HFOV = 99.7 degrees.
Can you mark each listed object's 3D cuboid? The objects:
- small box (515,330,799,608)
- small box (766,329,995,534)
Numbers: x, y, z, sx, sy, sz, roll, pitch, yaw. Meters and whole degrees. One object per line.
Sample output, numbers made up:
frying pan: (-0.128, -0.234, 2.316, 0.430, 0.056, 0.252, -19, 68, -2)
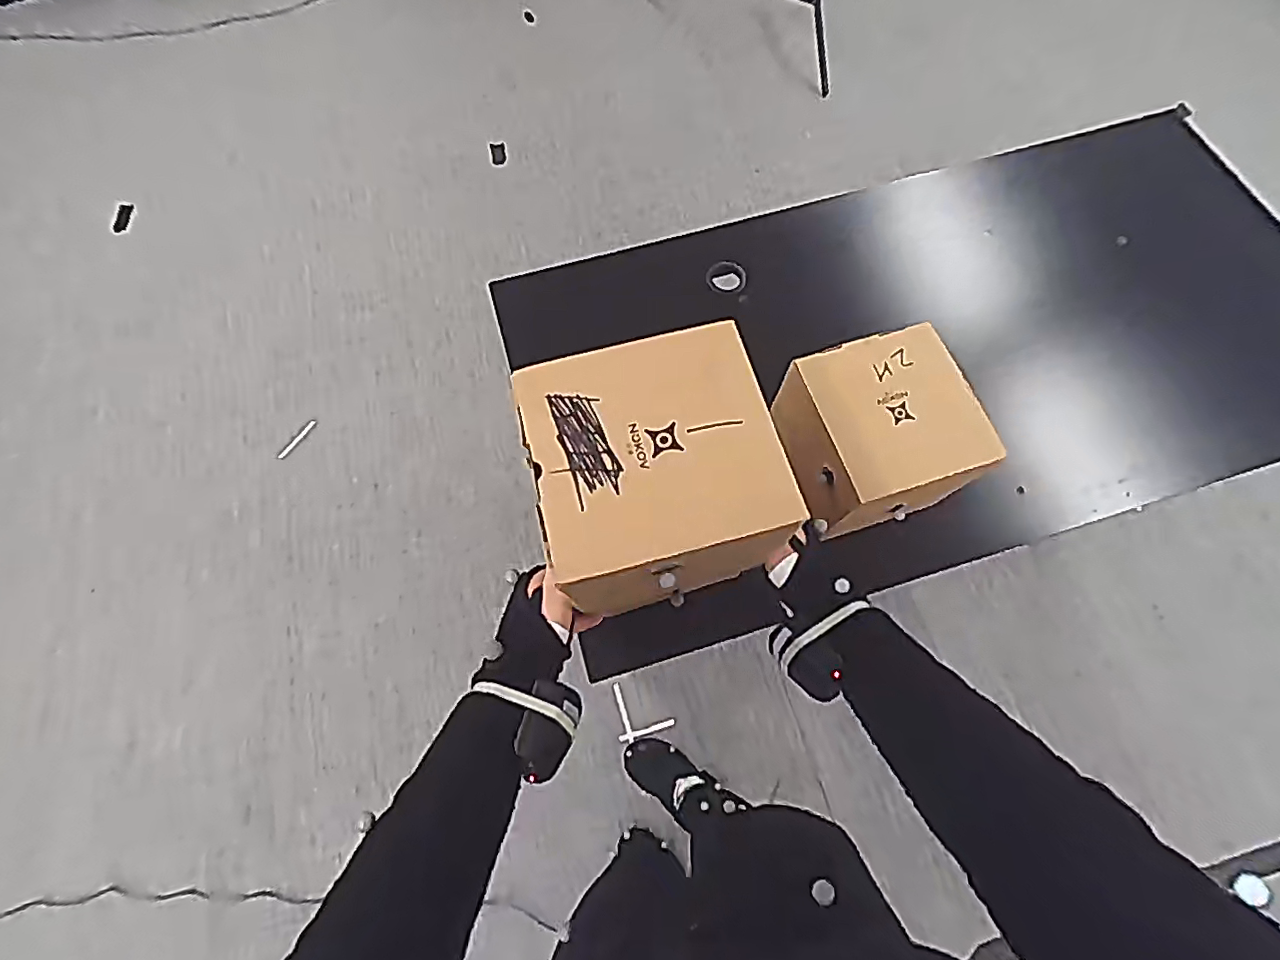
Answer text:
small box: (0.009, 0.004, 0.464, 0.179, 0.176, 0.168, -14, 71, -5)
small box: (0.268, -0.045, 0.653, 0.168, 0.176, 0.179, -17, 70, -5)
